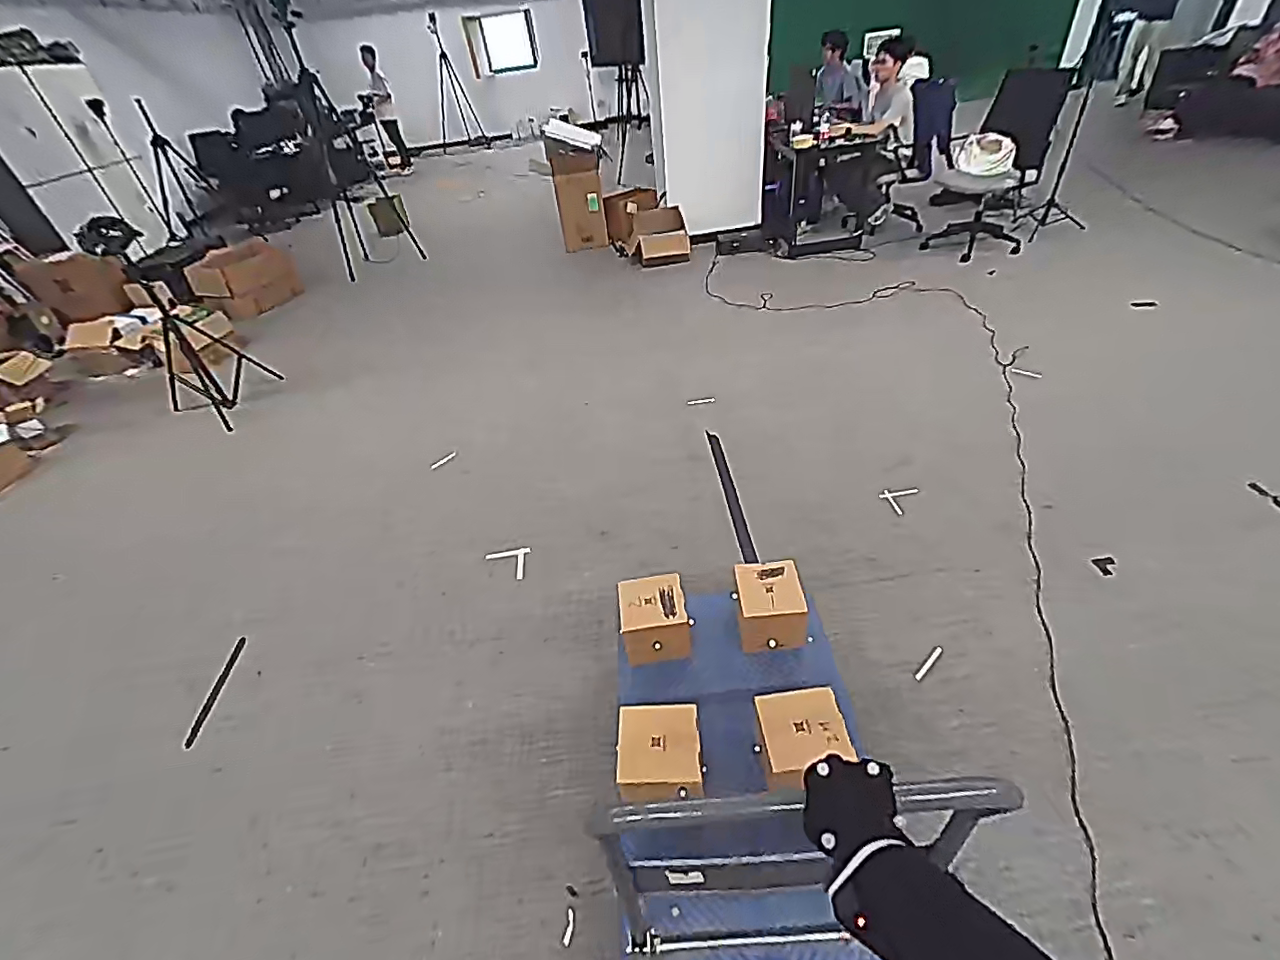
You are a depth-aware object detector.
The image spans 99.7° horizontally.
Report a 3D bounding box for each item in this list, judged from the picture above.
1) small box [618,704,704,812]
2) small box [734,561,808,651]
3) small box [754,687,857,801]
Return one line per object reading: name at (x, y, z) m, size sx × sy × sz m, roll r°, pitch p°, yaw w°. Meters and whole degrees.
small box at (0.050, 0.624, 1.209) m, size 0.179 × 0.176 × 0.168 m, roll -4°, pitch 39°, yaw 4°
small box at (0.353, 0.347, 1.488) m, size 0.168 × 0.176 × 0.179 m, roll -6°, pitch 41°, yaw 3°
small box at (0.357, 0.587, 1.198) m, size 0.179 × 0.176 × 0.168 m, roll -8°, pitch 39°, yaw 1°
